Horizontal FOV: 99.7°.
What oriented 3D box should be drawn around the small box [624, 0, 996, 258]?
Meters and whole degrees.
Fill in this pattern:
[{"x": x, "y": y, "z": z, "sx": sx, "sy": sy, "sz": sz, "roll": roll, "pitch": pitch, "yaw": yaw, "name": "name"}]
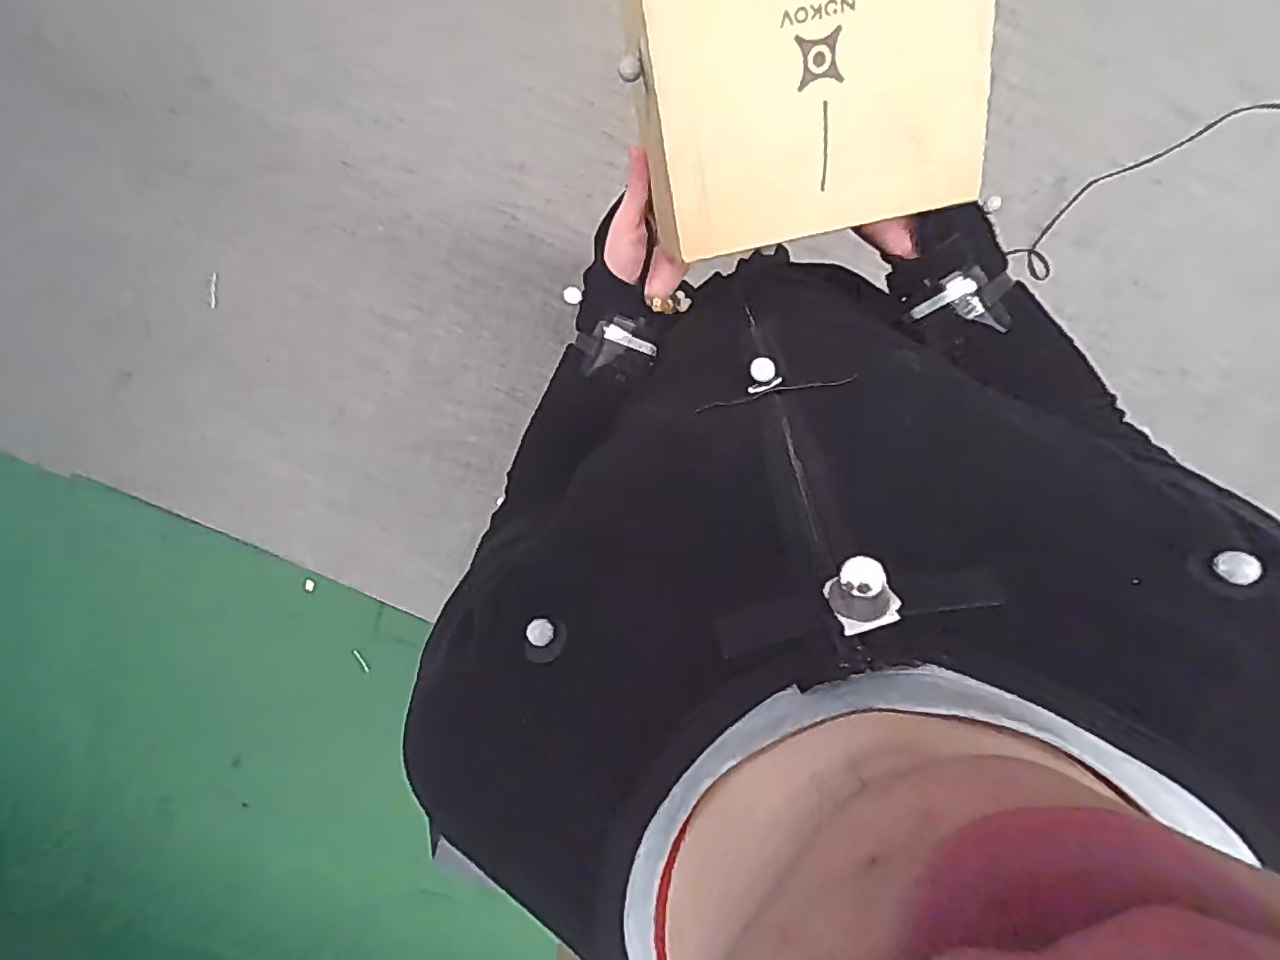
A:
[{"x": 0.086, "y": -0.248, "z": 0.334, "sx": 0.168, "sy": 0.176, "sz": 0.179, "roll": -11, "pitch": 117, "yaw": 3, "name": "small box"}]
